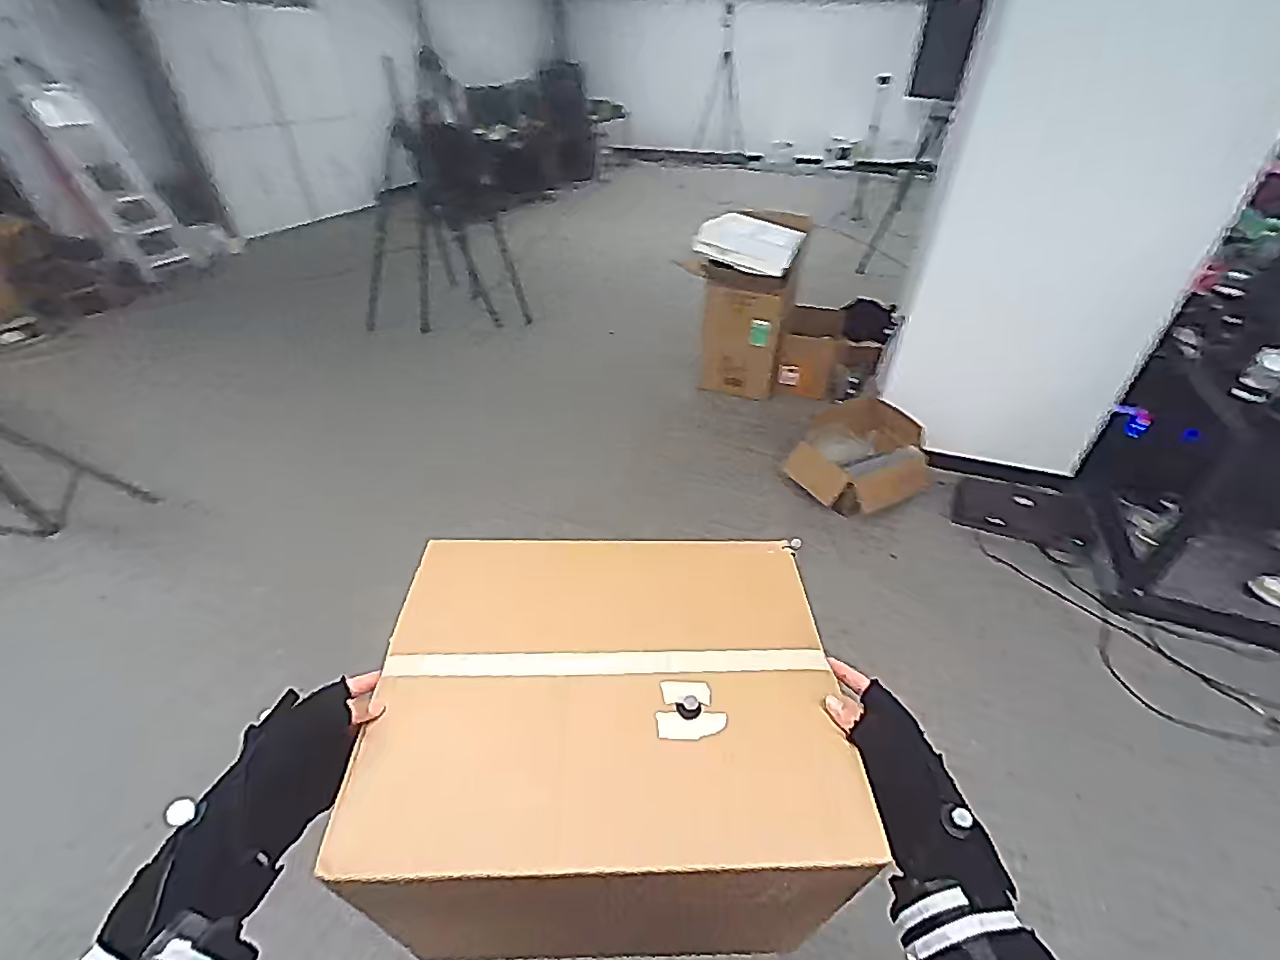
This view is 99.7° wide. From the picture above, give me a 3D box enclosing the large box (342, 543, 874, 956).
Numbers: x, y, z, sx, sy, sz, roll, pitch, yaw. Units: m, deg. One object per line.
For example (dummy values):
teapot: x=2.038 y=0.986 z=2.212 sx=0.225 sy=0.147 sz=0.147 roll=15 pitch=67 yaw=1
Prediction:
large box: x=-0.033 y=0.287 z=0.604 sx=0.408 sy=0.320 sz=0.320 roll=0 pitch=41 yaw=-4
